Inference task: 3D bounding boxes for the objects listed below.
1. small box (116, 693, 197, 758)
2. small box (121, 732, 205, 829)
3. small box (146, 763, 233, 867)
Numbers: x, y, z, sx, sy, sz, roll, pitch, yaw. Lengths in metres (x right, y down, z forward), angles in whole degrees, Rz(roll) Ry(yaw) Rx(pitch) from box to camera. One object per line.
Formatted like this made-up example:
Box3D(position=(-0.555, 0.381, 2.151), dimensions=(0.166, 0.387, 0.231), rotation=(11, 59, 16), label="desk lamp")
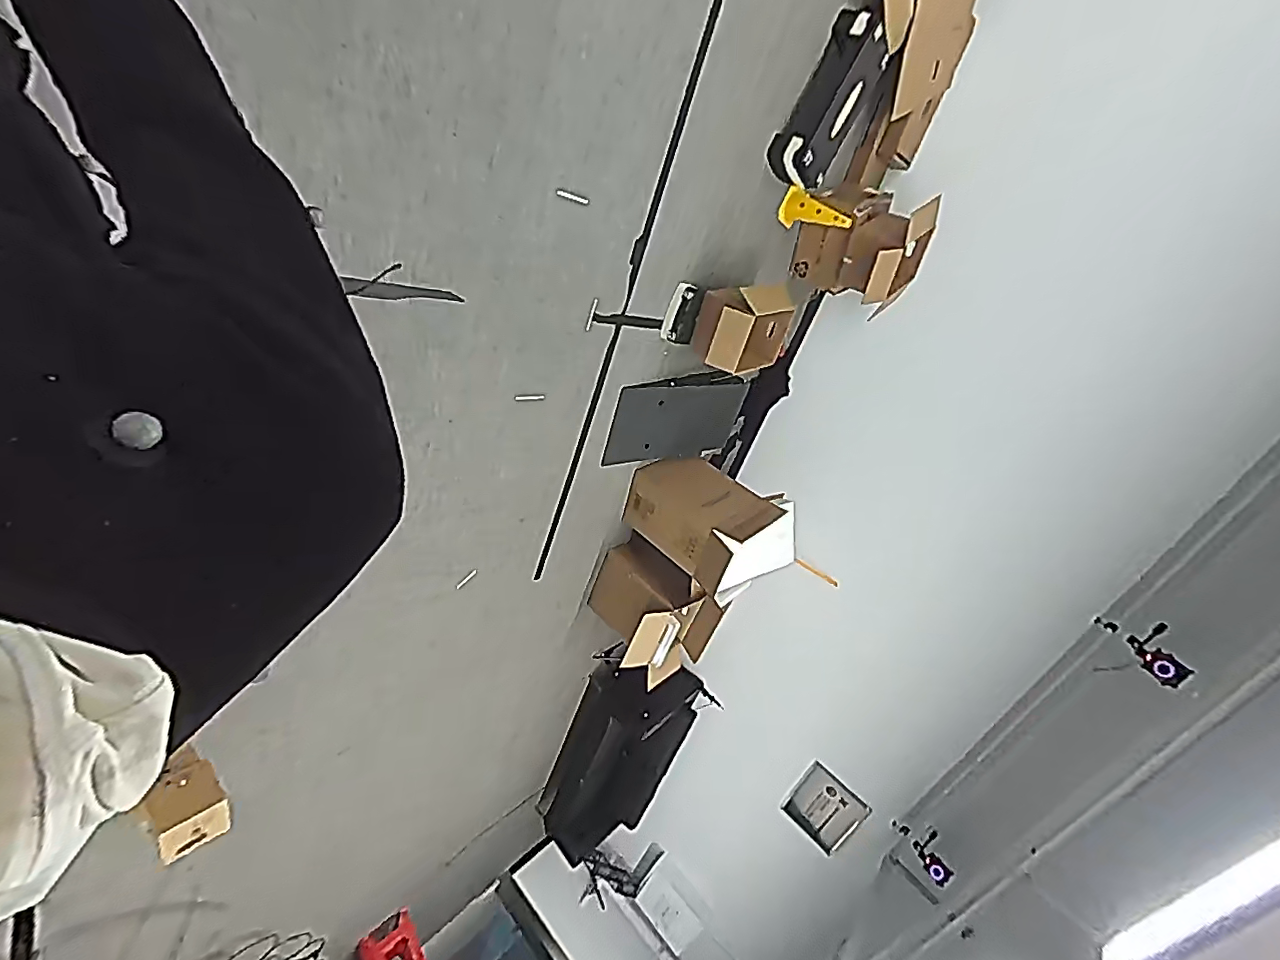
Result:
Box3D(position=(-1.608, 0.854, 1.803), dimensions=(0.168, 0.176, 0.179), rotation=(-20, 137, -47), label="small box")
Box3D(position=(-1.500, 0.946, 1.719), dimensions=(0.179, 0.176, 0.168), rotation=(-21, 138, -46), label="small box")
Box3D(position=(-1.366, 1.010, 1.644), dimensions=(0.168, 0.176, 0.179), rotation=(-18, 136, -50), label="small box")
